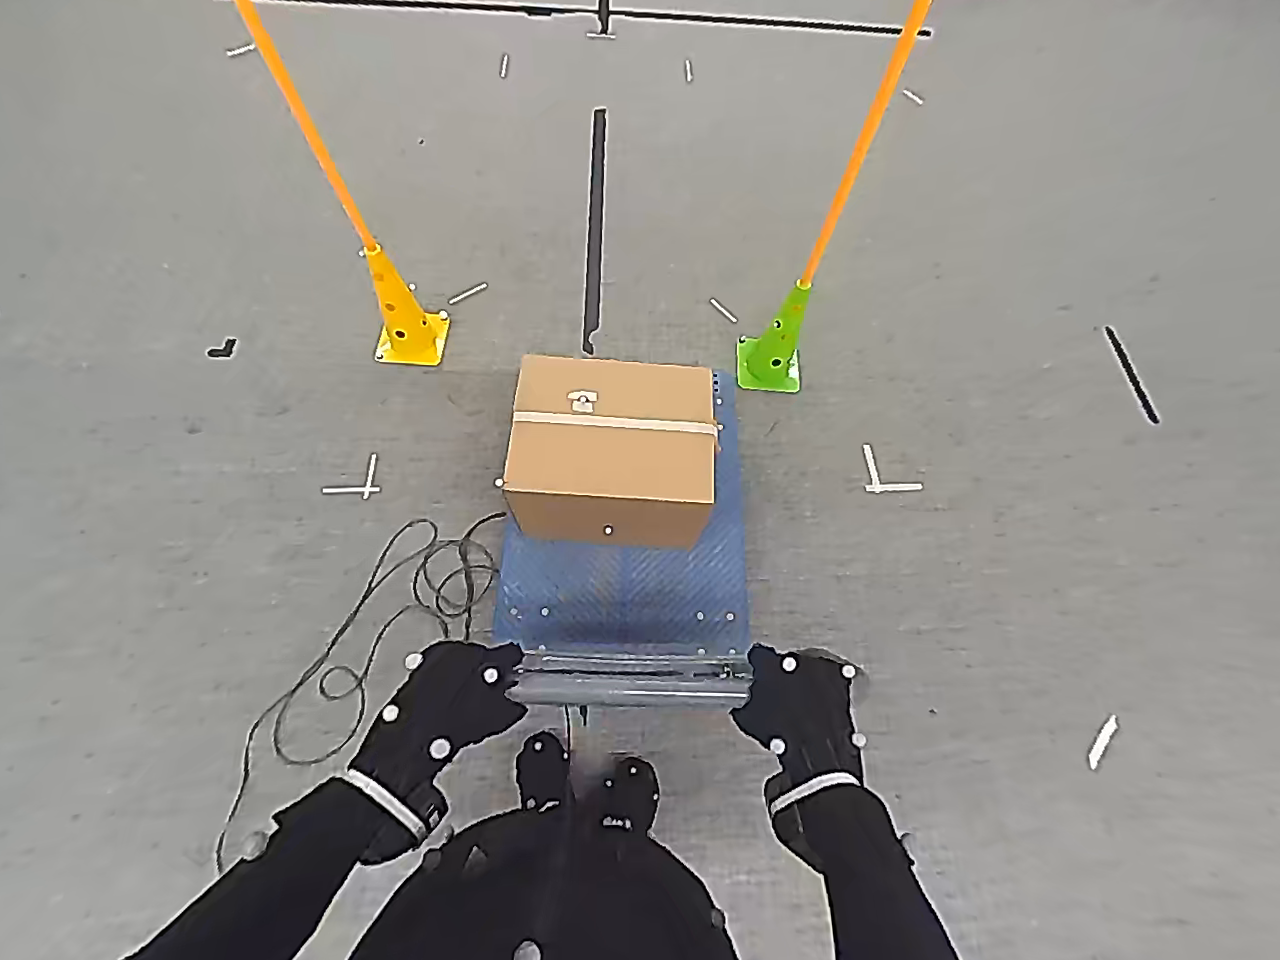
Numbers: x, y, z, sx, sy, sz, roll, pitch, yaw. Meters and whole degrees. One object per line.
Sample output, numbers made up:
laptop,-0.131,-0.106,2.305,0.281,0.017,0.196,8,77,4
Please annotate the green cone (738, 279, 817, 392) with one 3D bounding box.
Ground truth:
green cone,0.434,-0.446,1.602,0.202,0.368,0.200,5,65,-3

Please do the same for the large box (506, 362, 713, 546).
large box,-0.056,-0.043,1.226,0.408,0.320,0.320,4,66,-1
